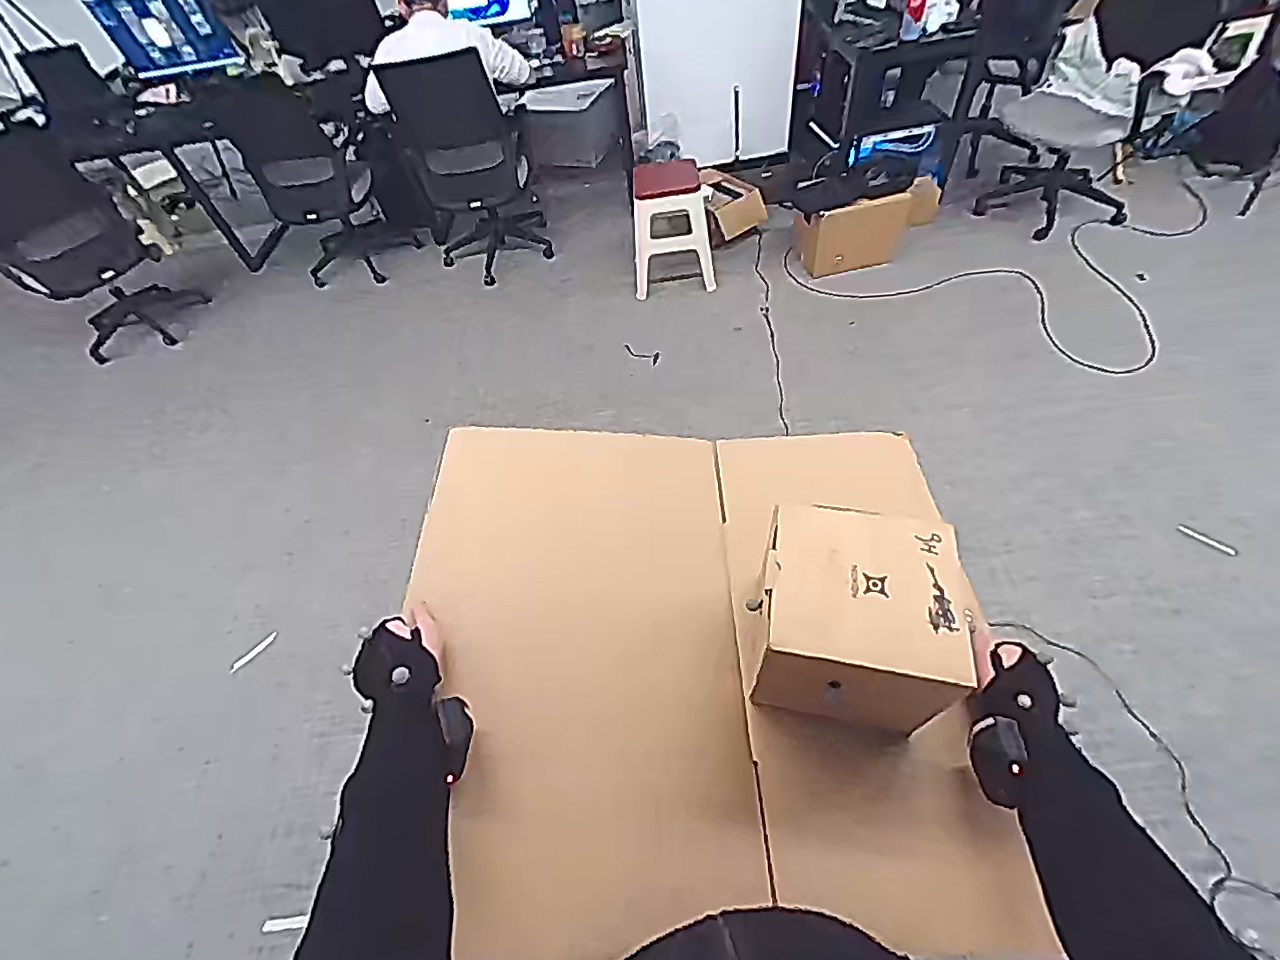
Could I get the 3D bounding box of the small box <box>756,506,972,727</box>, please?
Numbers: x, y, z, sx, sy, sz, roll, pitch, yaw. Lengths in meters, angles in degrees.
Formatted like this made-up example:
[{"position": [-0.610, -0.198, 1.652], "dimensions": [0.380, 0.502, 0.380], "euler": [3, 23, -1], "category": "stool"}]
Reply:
[{"position": [0.223, 0.150, 0.584], "dimensions": [0.179, 0.176, 0.168], "euler": [7, 53, 11], "category": "small box"}]
